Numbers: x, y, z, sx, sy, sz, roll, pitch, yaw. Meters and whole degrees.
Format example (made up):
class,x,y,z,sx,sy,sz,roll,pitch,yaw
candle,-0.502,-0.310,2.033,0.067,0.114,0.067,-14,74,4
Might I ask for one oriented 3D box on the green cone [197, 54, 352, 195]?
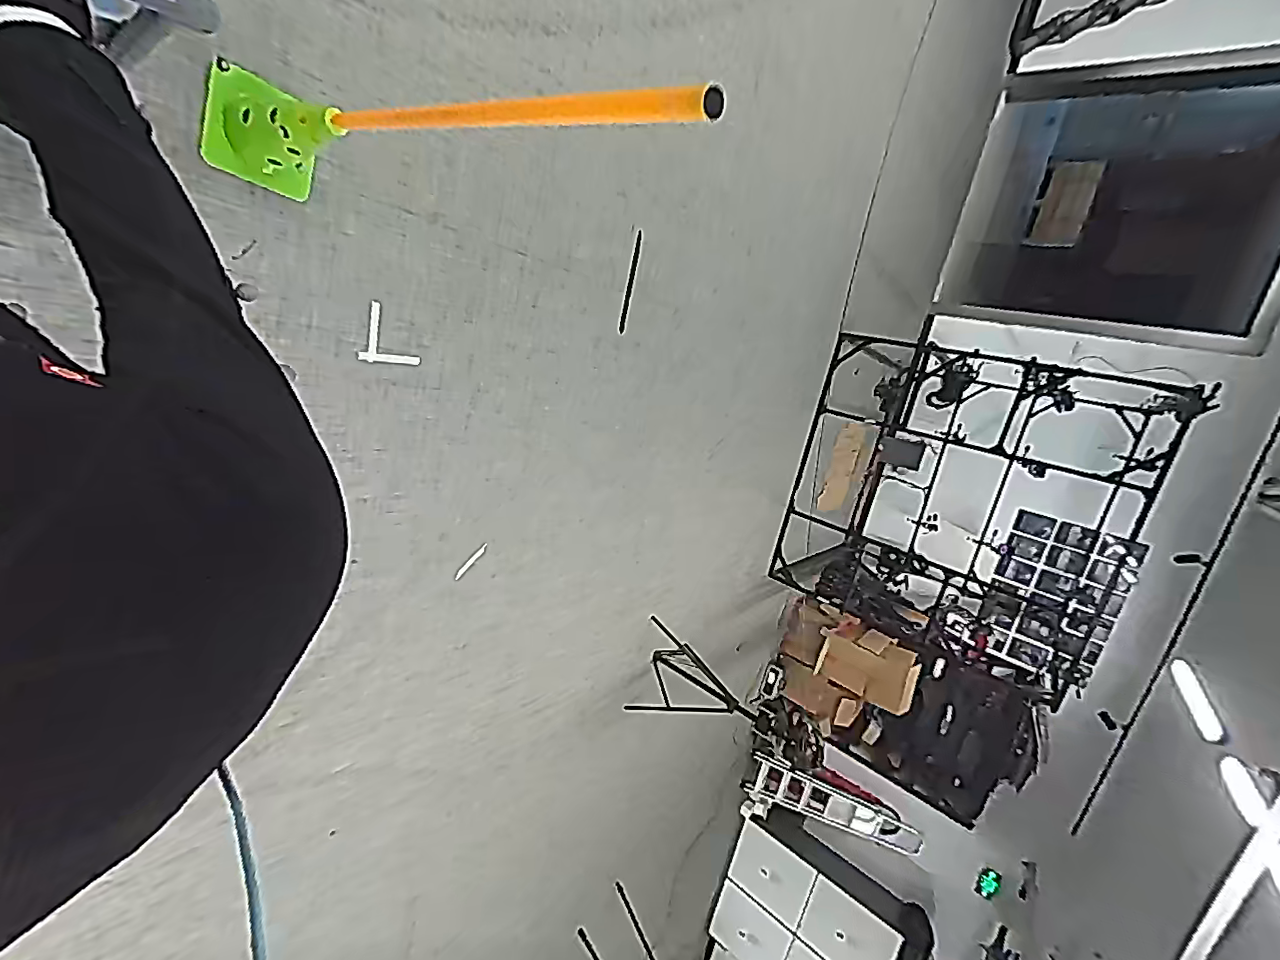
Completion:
class,x,y,z,sx,sy,sz,roll,pitch,yaw
green cone,-0.668,-0.684,1.043,0.202,0.368,0.200,2,106,-55
